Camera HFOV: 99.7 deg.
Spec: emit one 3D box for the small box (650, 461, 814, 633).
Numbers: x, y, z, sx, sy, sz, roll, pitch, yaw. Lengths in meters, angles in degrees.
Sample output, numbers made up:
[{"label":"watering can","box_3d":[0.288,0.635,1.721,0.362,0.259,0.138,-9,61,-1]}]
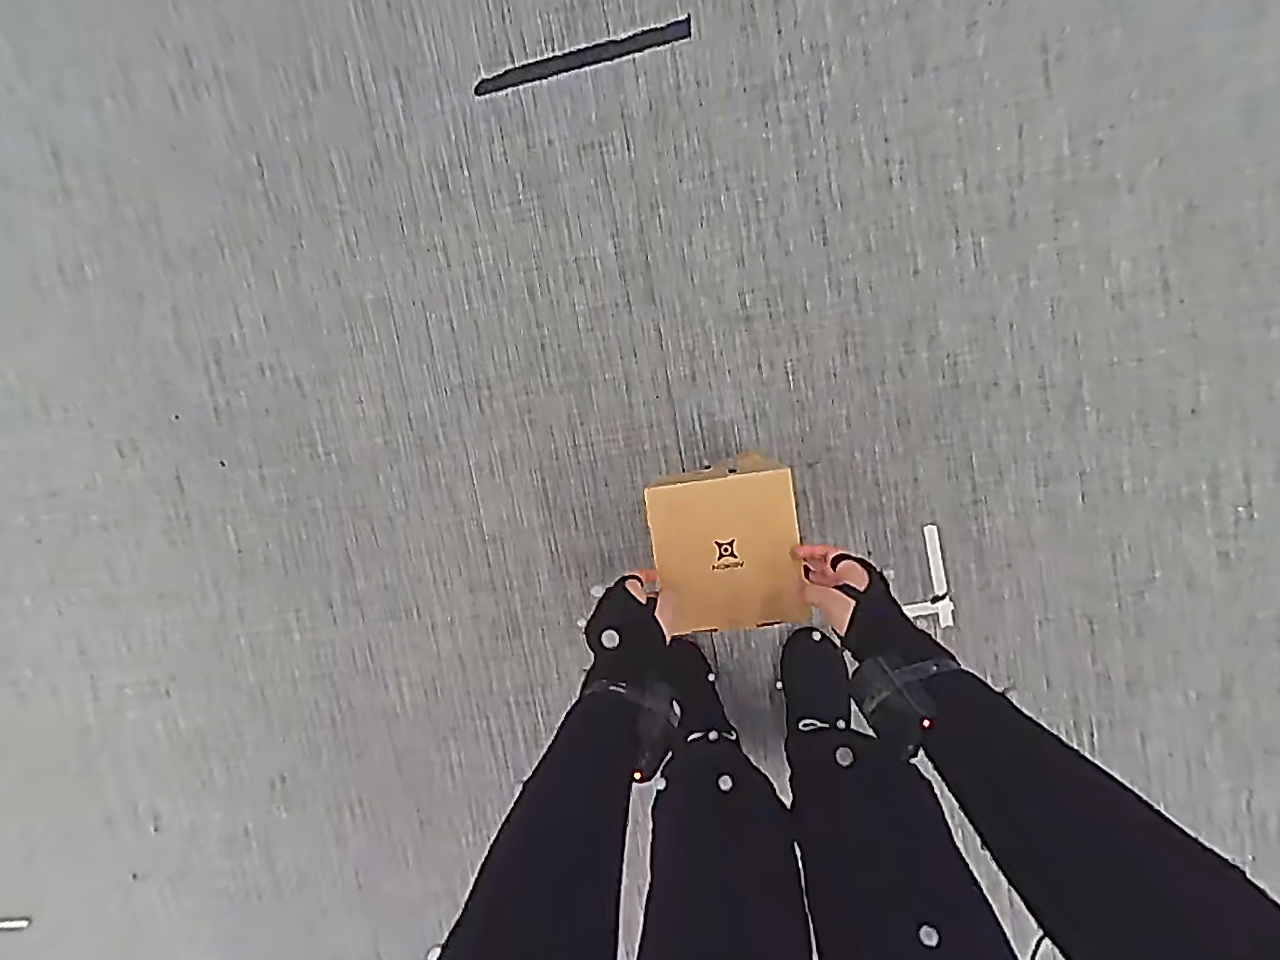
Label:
[{"label":"small box","box_3d":[0.108,0.072,0.680,0.168,0.176,0.179,-8,95,7]}]
